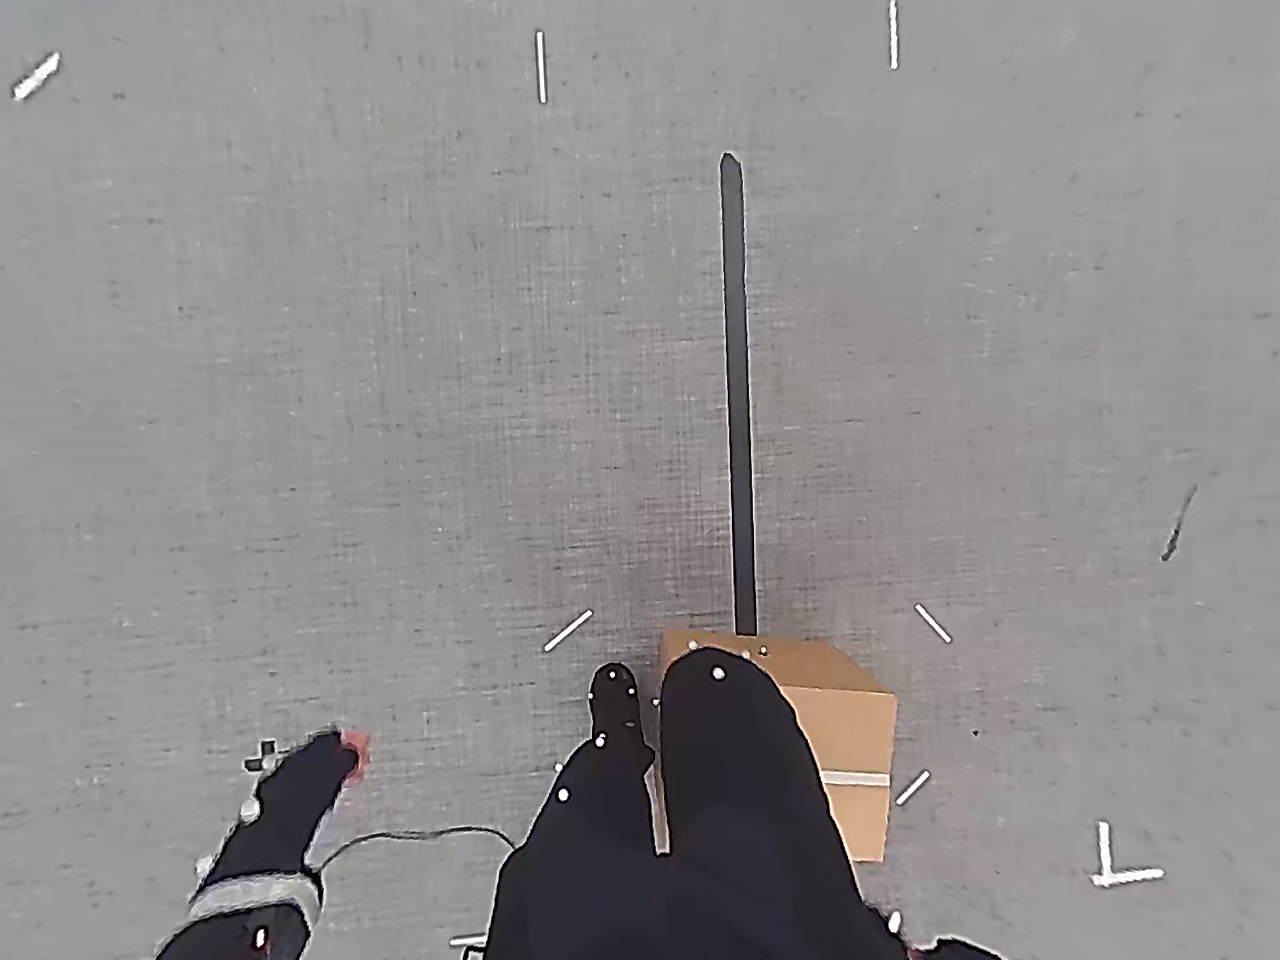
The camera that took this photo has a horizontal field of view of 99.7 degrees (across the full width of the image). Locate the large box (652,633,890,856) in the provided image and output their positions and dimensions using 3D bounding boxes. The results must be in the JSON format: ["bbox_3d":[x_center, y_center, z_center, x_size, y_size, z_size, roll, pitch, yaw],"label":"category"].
[{"bbox_3d":[0.245,0.523,1.129,0.408,0.320,0.320,5,90,-3],"label":"large box"}]
